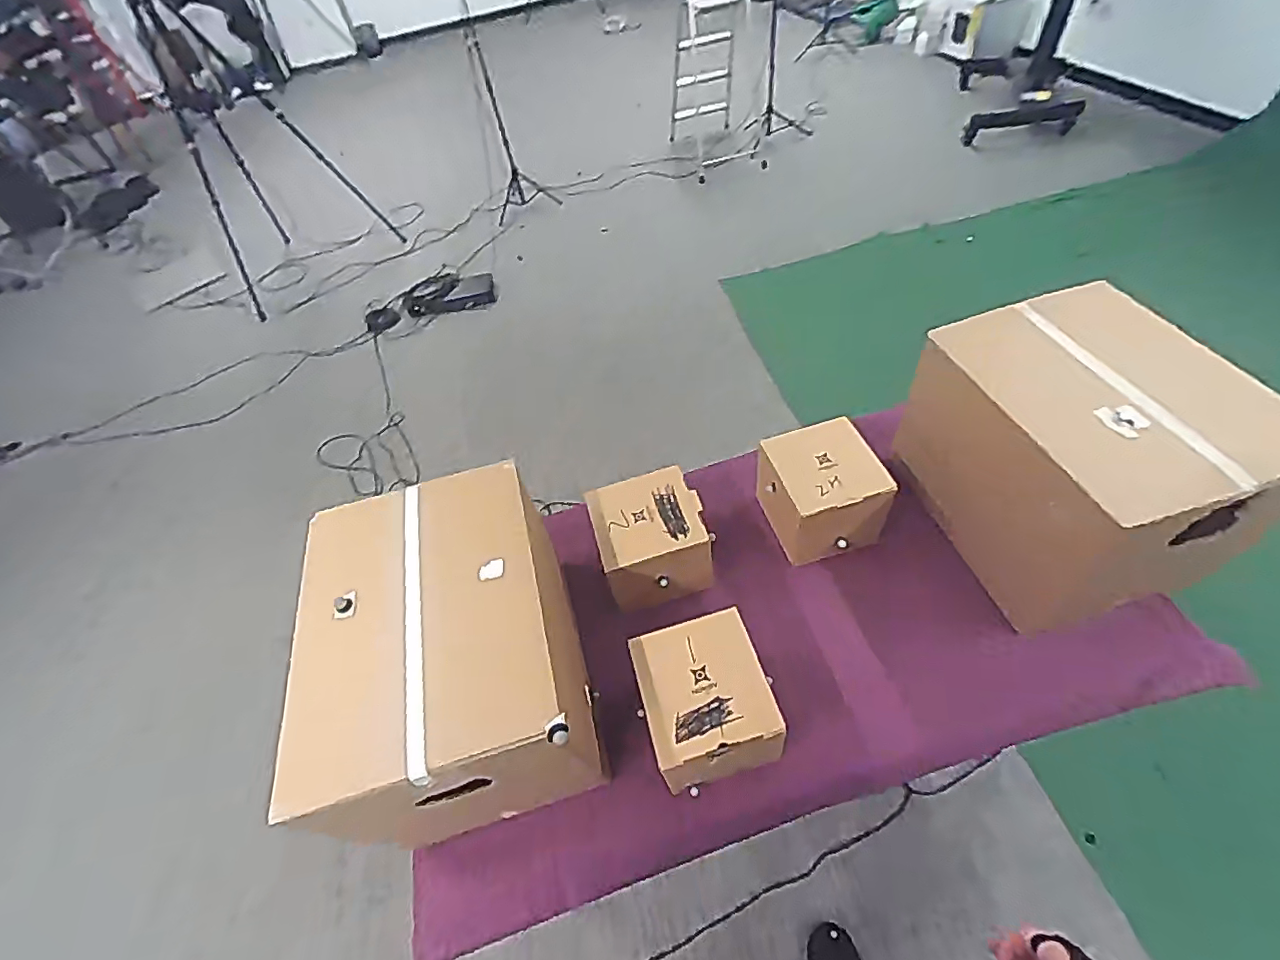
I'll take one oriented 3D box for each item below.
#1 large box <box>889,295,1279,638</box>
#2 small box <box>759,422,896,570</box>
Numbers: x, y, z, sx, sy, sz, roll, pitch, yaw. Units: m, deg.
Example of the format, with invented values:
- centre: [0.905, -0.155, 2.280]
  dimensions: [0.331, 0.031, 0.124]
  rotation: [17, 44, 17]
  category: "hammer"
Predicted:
- centre: [0.672, -0.026, 0.863]
  dimensions: [0.320, 0.320, 0.408]
  rotation: [-17, 51, -2]
  category: "large box"
- centre: [0.320, 0.031, 0.967]
  dimensions: [0.168, 0.176, 0.179]
  rotation: [-17, 51, -2]
  category: "small box"
